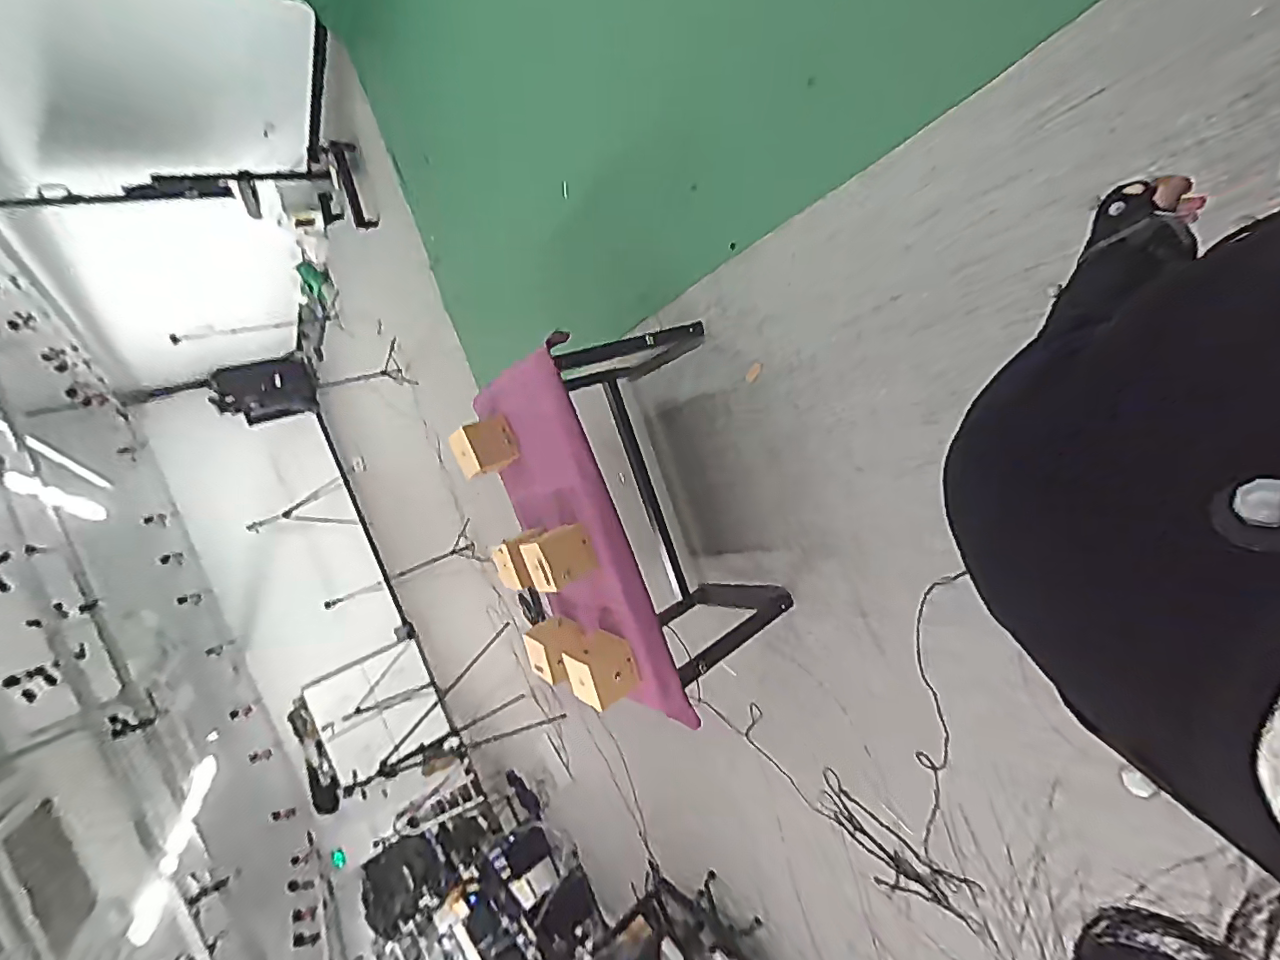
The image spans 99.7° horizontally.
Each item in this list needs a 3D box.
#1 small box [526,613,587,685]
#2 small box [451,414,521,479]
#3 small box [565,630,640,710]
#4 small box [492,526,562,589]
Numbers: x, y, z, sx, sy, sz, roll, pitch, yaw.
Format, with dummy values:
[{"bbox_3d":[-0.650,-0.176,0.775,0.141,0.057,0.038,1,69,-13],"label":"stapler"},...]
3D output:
[{"bbox_3d":[-0.306,0.637,2.053,0.168,0.176,0.179,6,112,50],"label":"small box"},{"bbox_3d":[-0.552,-0.121,1.945,0.179,0.176,0.168,-22,93,54],"label":"small box"},{"bbox_3d":[-0.117,0.622,1.795,0.179,0.176,0.168,0,108,53],"label":"small box"},{"bbox_3d":[-0.413,0.287,1.997,0.168,0.176,0.179,-15,98,53],"label":"small box"}]
